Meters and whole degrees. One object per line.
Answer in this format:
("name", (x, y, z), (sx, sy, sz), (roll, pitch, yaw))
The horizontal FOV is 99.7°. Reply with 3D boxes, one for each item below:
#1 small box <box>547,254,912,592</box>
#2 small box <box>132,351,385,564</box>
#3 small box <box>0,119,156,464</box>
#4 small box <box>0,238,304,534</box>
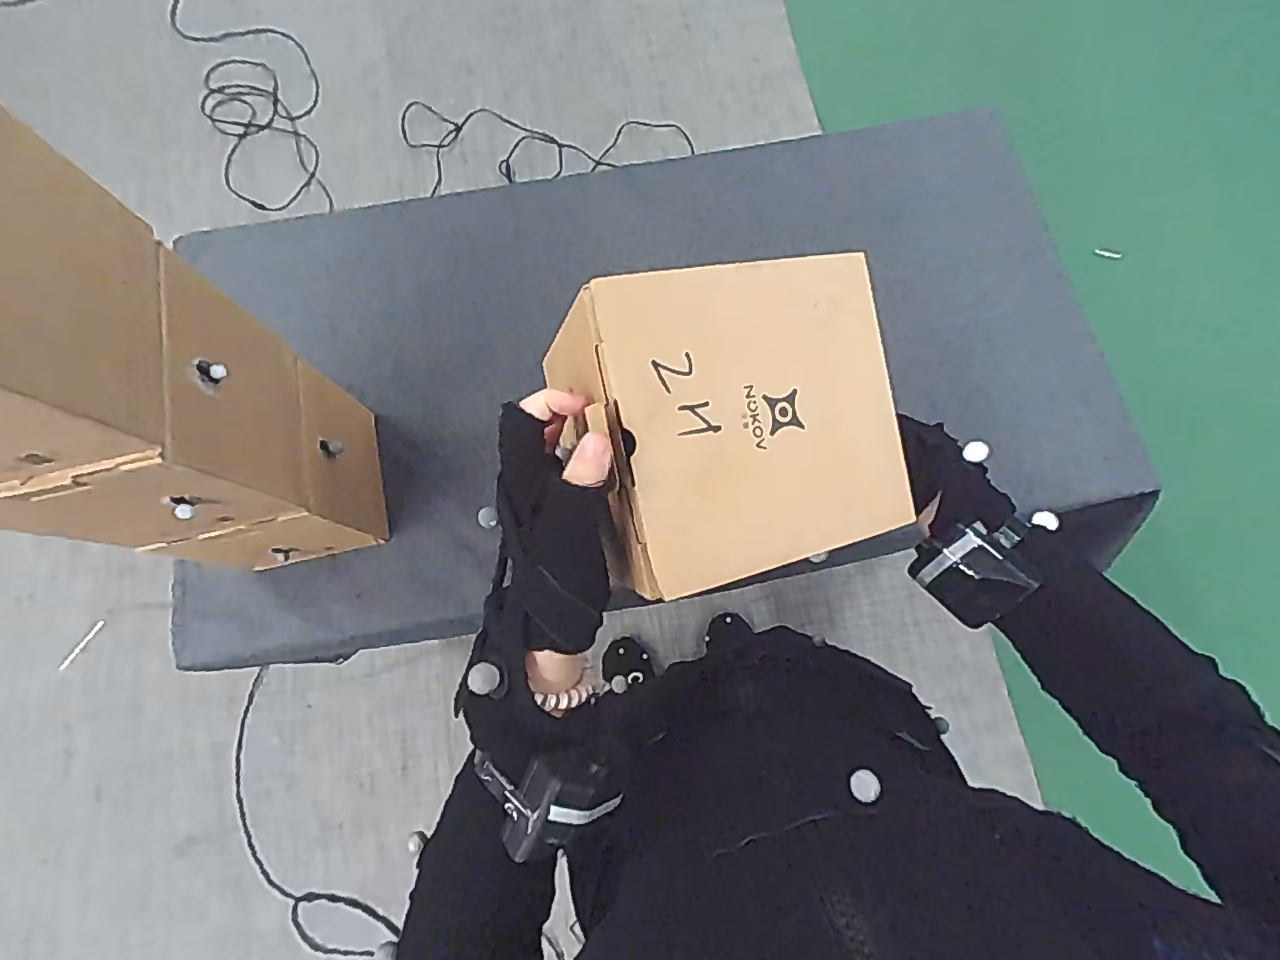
("small box", (0.045, -0.037, 0.372), (0.179, 0.176, 0.168), (-12, 92, -17))
("small box", (-0.408, -0.015, 0.603), (0.168, 0.176, 0.179), (-13, 76, -3))
("small box", (-0.410, -0.108, 0.290), (0.168, 0.176, 0.179), (-13, 75, -5))
("small box", (-0.408, -0.059, 0.446), (0.168, 0.176, 0.179), (-12, 75, -4))
